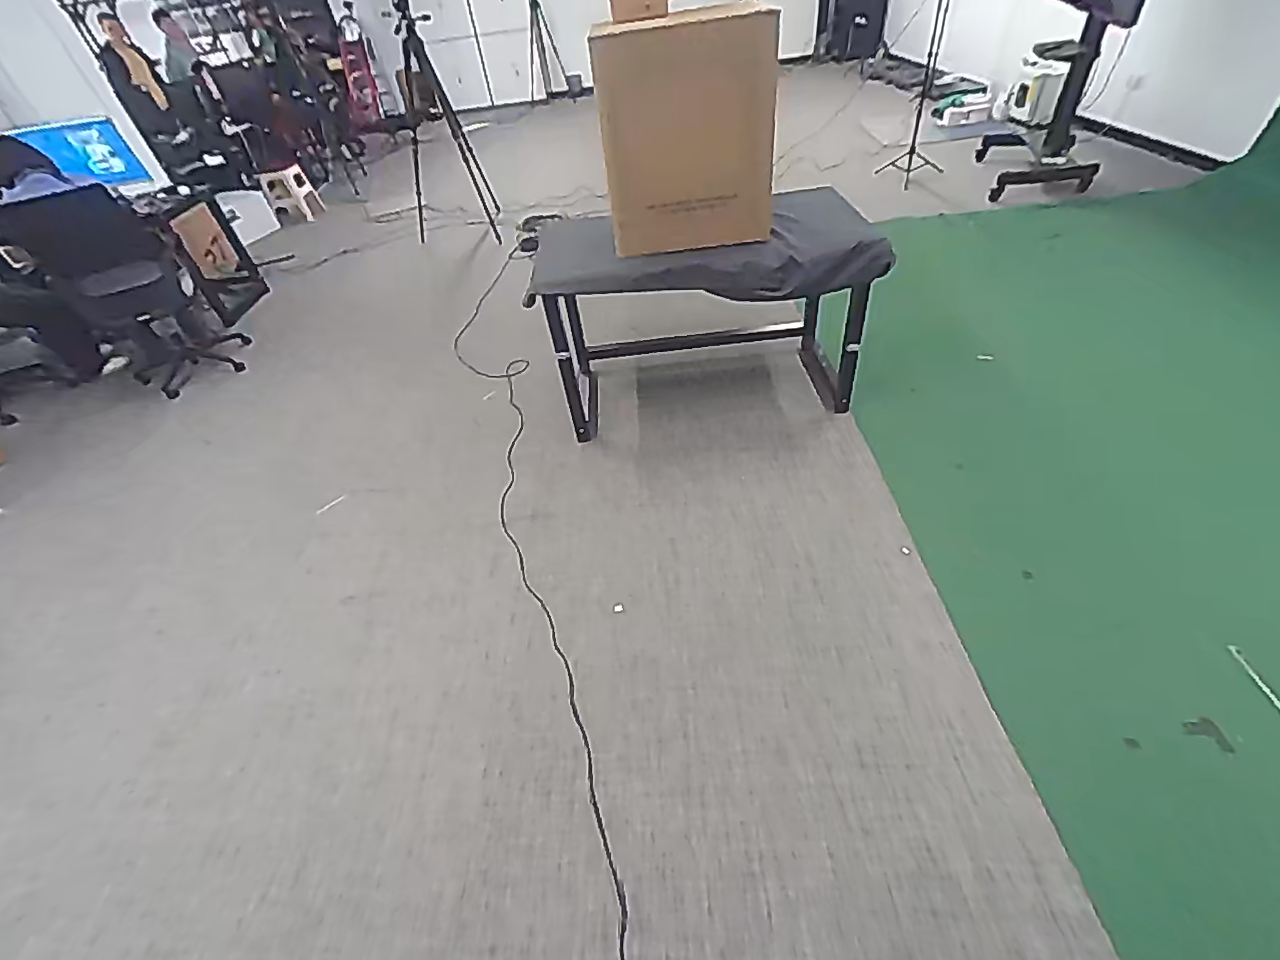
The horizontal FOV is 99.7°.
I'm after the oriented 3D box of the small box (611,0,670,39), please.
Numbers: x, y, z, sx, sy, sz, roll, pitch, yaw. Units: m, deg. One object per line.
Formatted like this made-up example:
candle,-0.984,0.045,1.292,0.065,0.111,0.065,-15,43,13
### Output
small box,-0.002,-1.430,1.608,0.168,0.176,0.179,-6,41,4
